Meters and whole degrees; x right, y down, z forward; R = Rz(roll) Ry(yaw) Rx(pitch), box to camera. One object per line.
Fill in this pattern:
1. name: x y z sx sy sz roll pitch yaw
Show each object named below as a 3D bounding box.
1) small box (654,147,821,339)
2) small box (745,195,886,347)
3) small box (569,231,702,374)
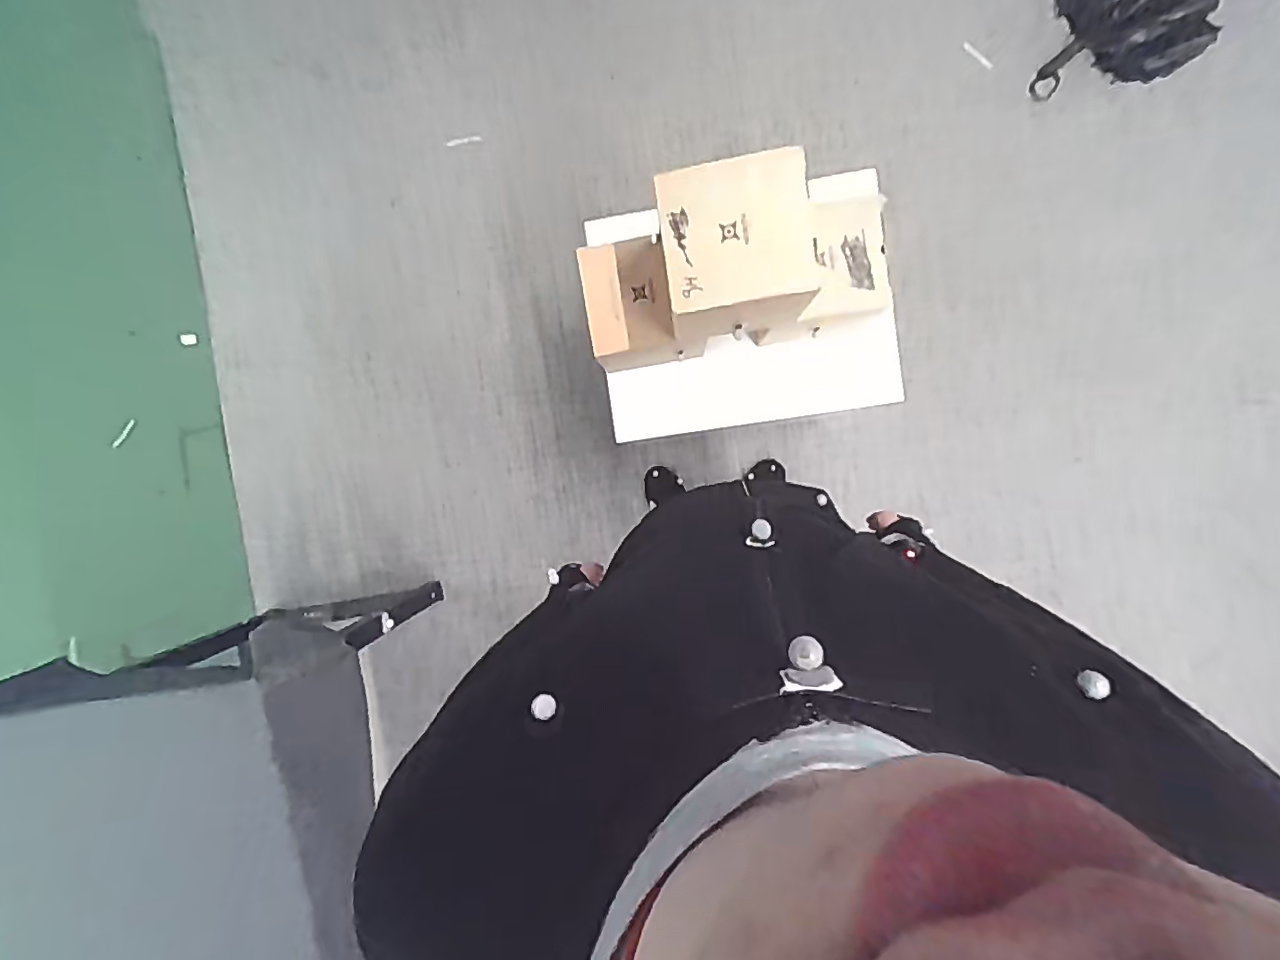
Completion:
1. small box: 0.113 -0.288 0.694 0.179 0.176 0.168 -8 92 3
2. small box: 0.258 -0.316 0.848 0.179 0.176 0.168 -8 92 4
3. small box: -0.004 -0.276 0.863 0.179 0.176 0.168 -10 91 3
